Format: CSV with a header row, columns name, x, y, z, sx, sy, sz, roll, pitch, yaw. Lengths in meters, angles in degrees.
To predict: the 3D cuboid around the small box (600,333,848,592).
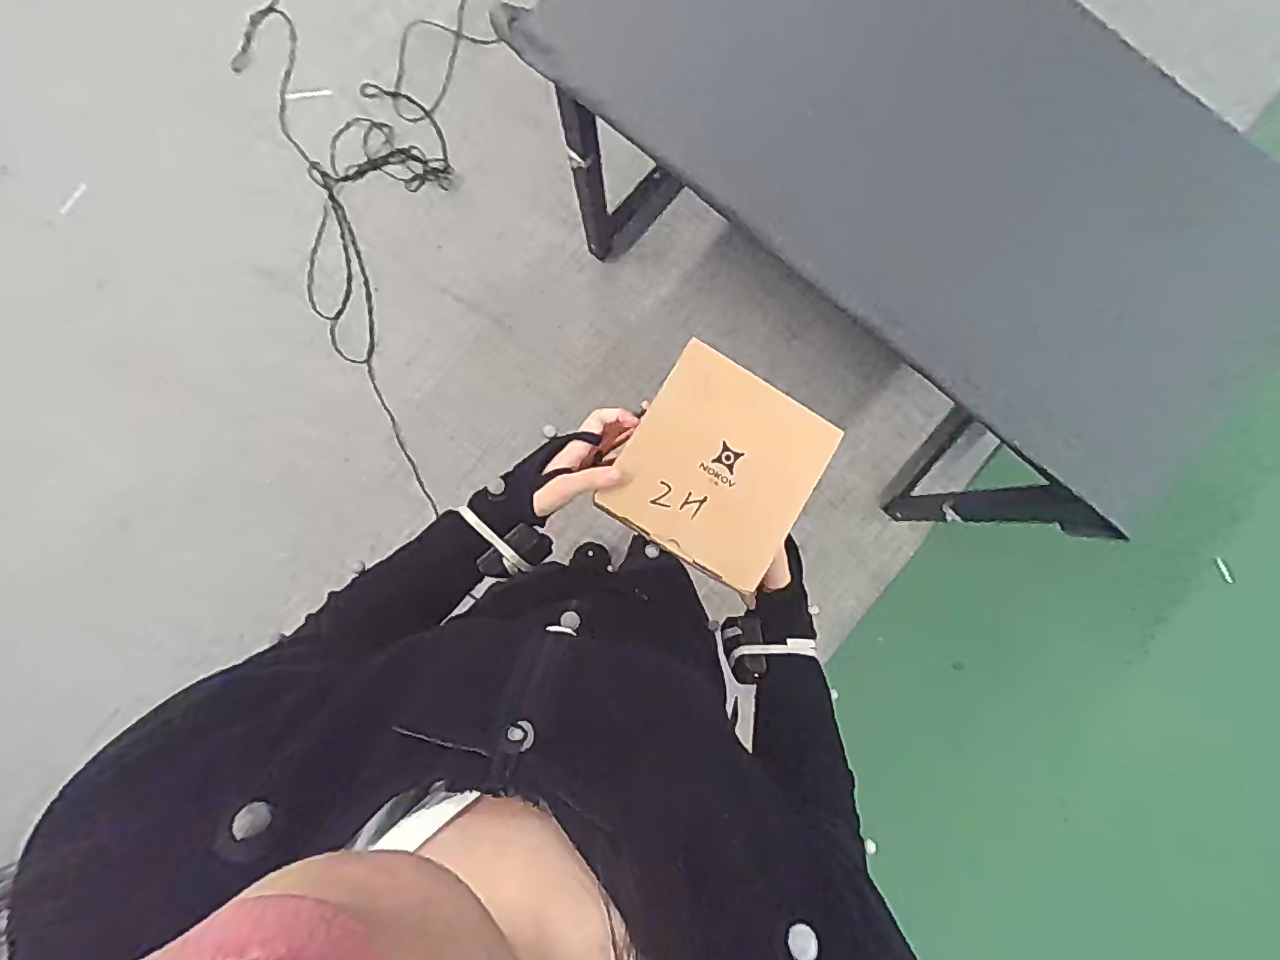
name,x,y,z,sx,sy,sz,roll,pitch,yaw
small box,0.068,-0.011,0.552,0.168,0.176,0.179,32,82,-3
